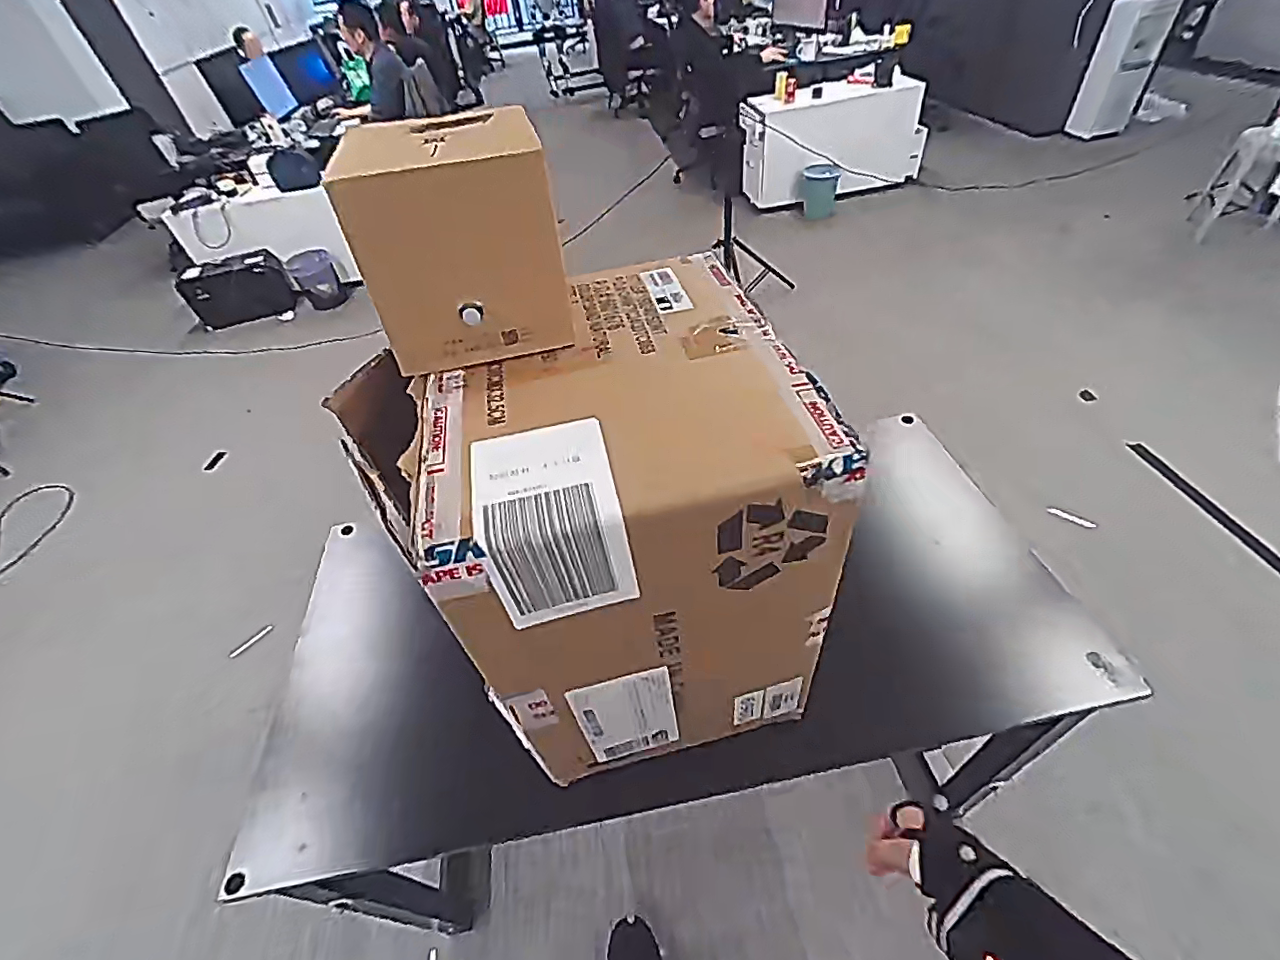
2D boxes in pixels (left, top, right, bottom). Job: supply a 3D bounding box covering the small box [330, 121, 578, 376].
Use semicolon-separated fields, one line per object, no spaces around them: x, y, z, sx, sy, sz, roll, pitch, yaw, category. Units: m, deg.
-0.162;-0.223;0.518;0.168;0.176;0.179;-13;44;-8;small box
